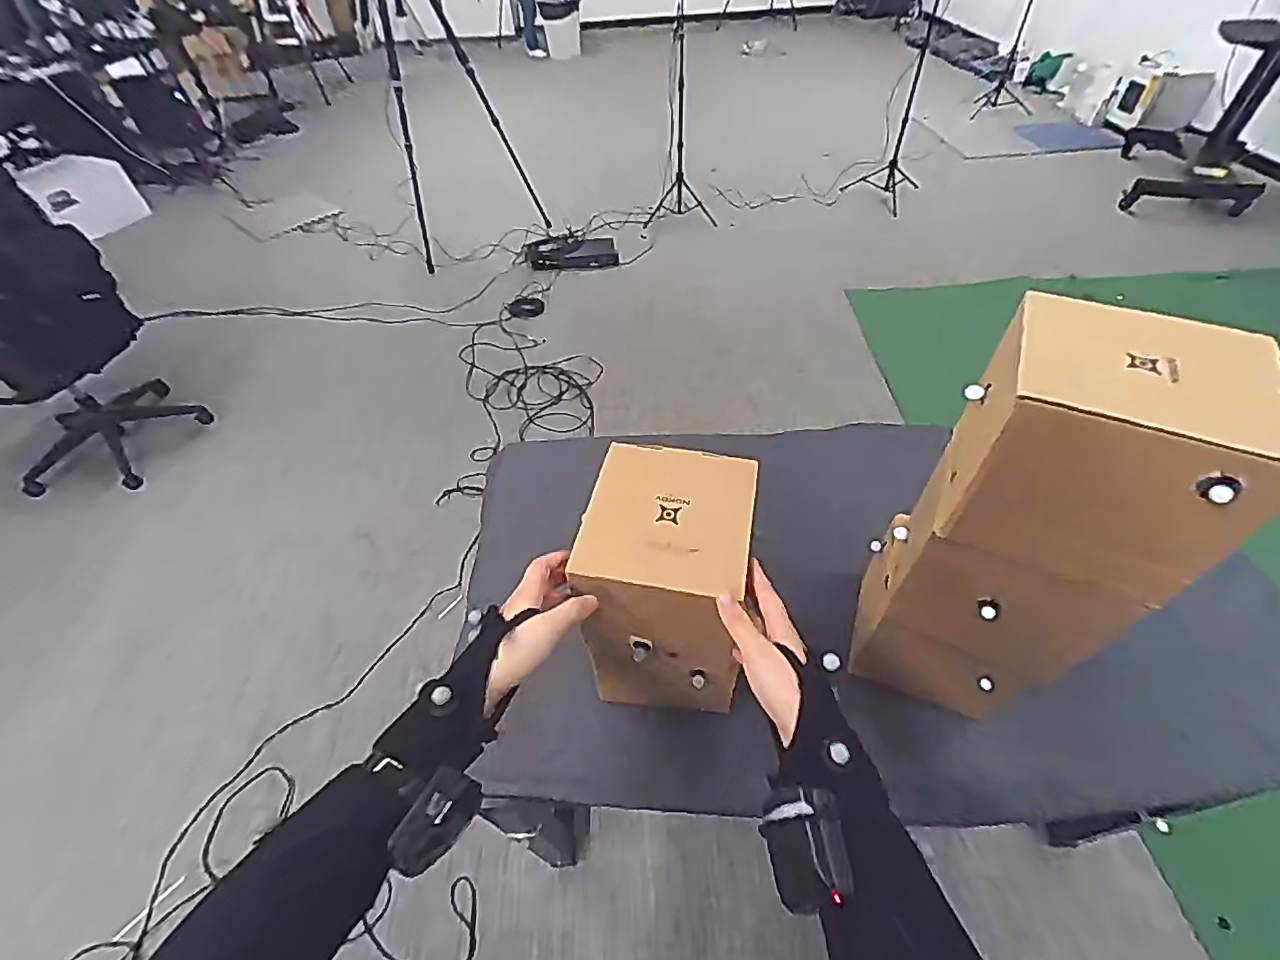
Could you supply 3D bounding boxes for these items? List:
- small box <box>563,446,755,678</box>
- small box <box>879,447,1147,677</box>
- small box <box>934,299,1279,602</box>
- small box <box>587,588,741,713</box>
[{"bbox_3d":[0.028,0.090,0.597,0.168,0.176,0.179,8,50,11],"label":"small box"},{"bbox_3d":[0.385,0.084,0.579,0.179,0.176,0.168,22,52,21],"label":"small box"},{"bbox_3d":[0.376,-0.025,0.459,0.179,0.176,0.168,20,51,19],"label":"small box"},{"bbox_3d":[0.038,0.196,0.721,0.179,0.176,0.168,3,48,6],"label":"small box"}]
